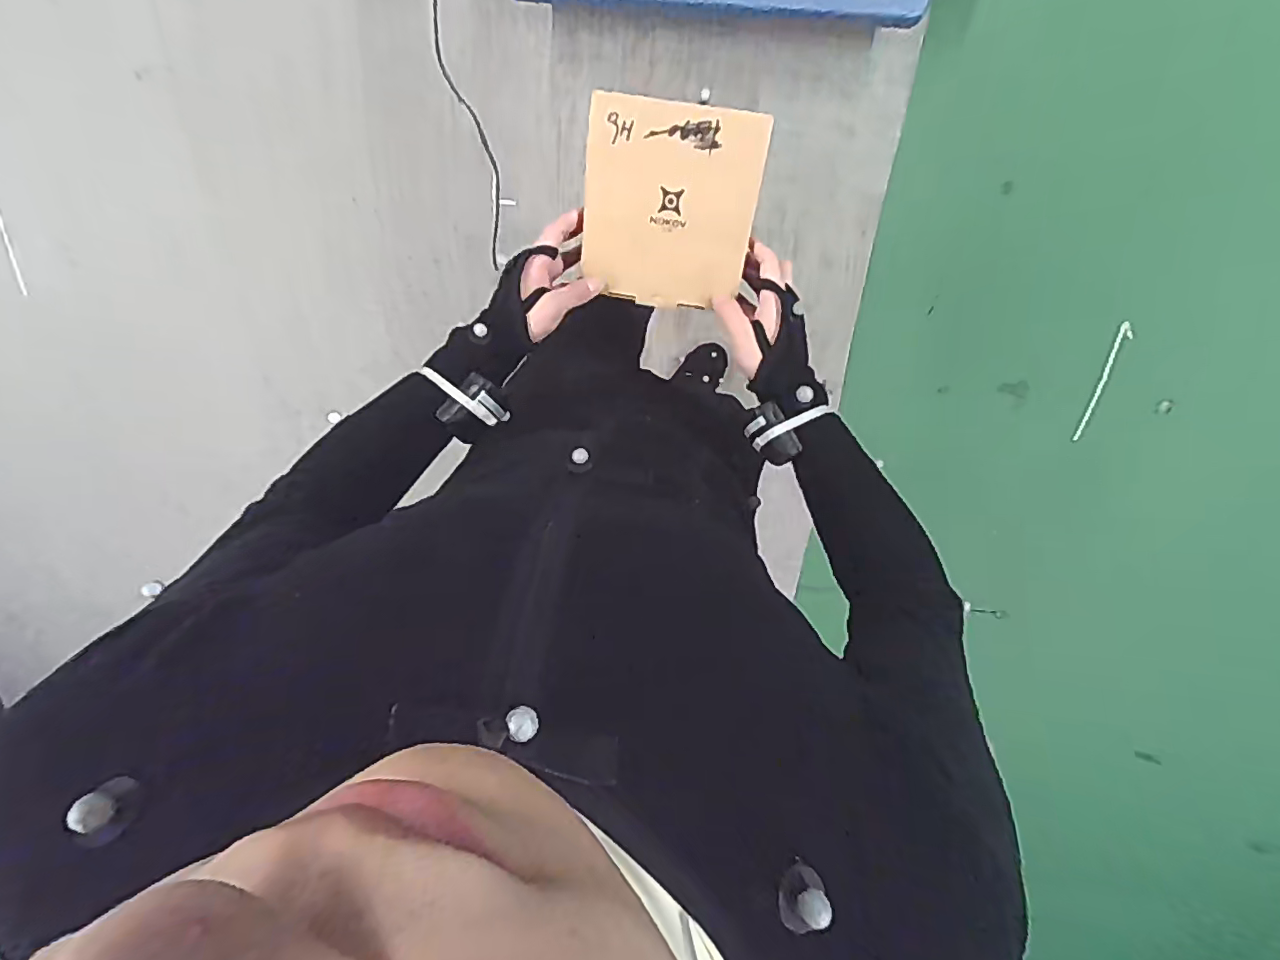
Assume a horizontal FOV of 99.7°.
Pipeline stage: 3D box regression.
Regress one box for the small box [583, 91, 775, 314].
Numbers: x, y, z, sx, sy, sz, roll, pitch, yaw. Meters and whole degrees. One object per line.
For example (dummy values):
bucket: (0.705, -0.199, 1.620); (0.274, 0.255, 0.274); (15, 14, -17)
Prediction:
small box: (0.040, -0.302, 0.593); (0.168, 0.176, 0.179); (10, 122, 1)
